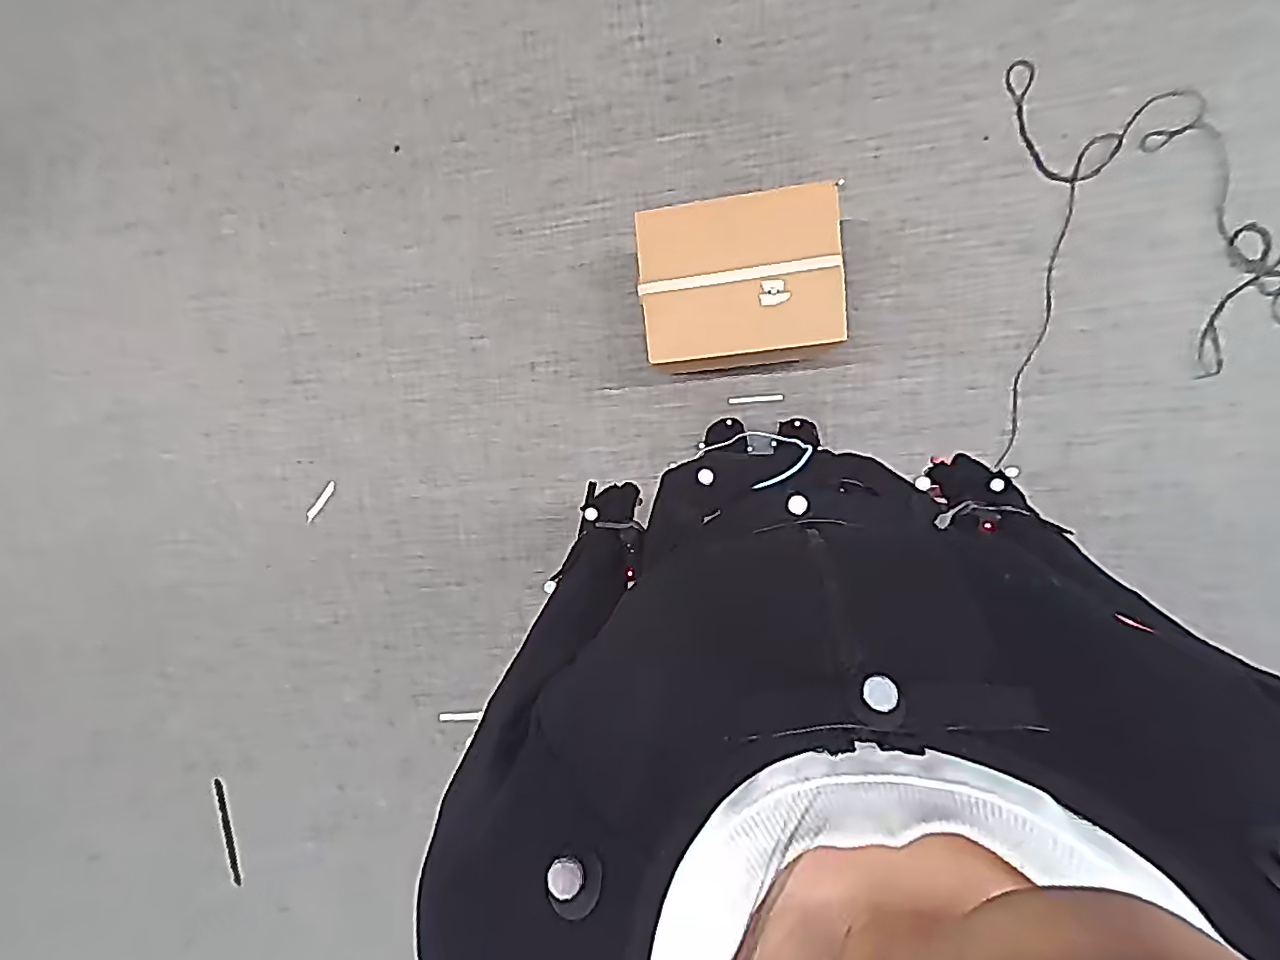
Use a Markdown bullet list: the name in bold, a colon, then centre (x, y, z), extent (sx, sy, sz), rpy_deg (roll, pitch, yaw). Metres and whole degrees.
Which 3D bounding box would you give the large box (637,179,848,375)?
- **large box**: centre (0.226, -0.434, 1.249), extent (0.408, 0.320, 0.320), rpy_deg (-5, 96, 9)

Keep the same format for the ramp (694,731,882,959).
- **ramp**: centre (0.396, 1.208, 1.474), extent (0.509, 0.206, 0.991), rpy_deg (-3, 96, 11)
